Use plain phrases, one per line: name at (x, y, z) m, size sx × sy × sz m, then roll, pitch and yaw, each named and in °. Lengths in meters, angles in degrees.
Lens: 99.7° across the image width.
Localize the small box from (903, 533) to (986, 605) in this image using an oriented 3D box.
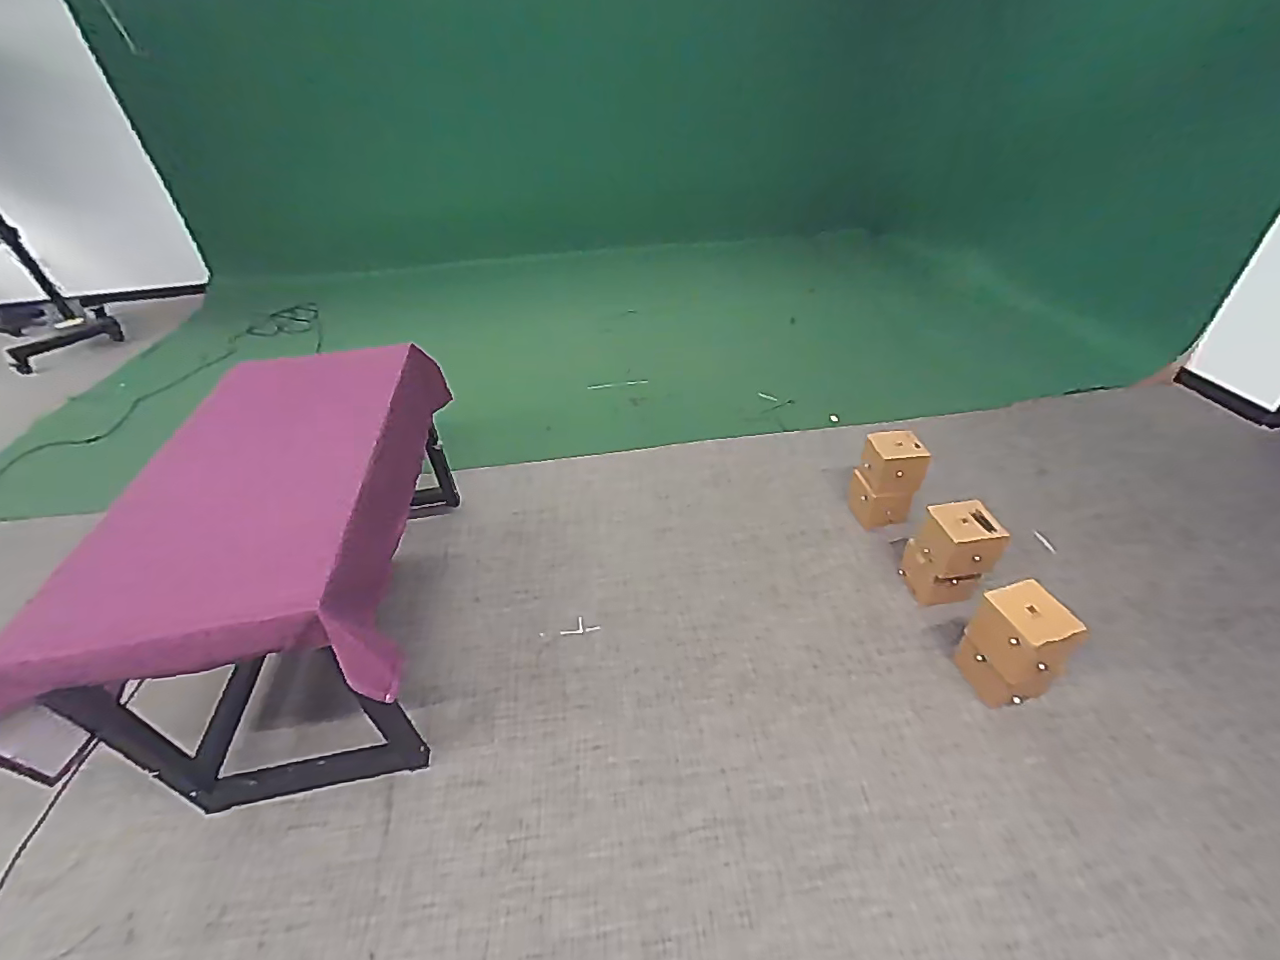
small box at (1.019, 0.306, 1.835) m, size 0.179 × 0.176 × 0.168 m, roll -7°, pitch 40°, yaw -4°

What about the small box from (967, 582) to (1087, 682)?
small box at (1.028, 0.408, 1.456) m, size 0.168 × 0.176 × 0.179 m, roll -13°, pitch 41°, yaw -9°

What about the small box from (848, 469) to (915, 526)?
small box at (0.946, 0.067, 2.133) m, size 0.168 × 0.176 × 0.179 m, roll -7°, pitch 40°, yaw -5°

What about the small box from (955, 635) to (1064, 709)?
small box at (1.053, 0.529, 1.562) m, size 0.168 × 0.176 × 0.179 m, roll -10°, pitch 40°, yaw -5°

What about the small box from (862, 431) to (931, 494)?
small box at (0.954, -0.063, 2.032) m, size 0.179 × 0.176 × 0.168 m, roll -6°, pitch 40°, yaw -1°
